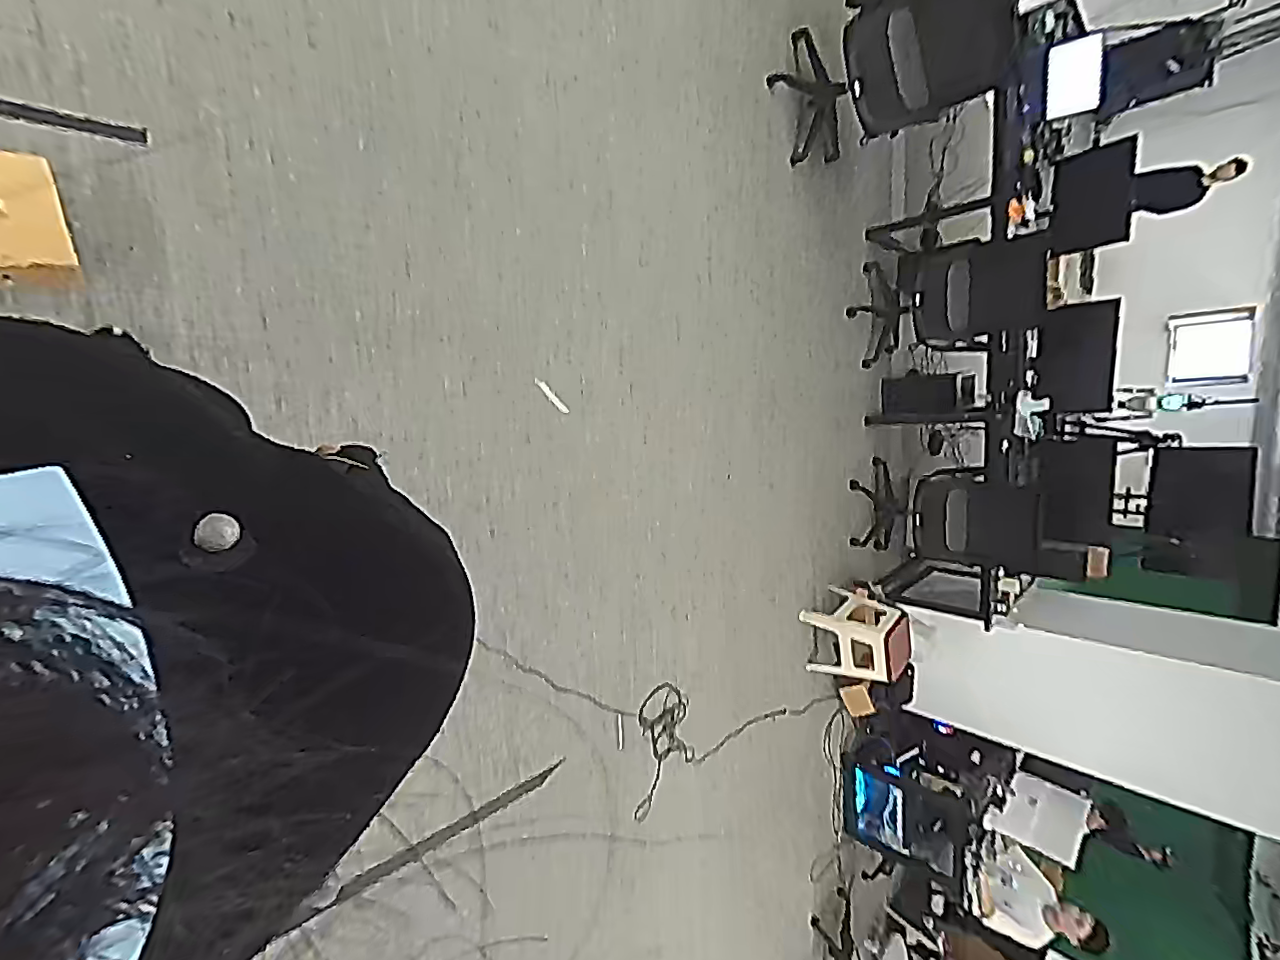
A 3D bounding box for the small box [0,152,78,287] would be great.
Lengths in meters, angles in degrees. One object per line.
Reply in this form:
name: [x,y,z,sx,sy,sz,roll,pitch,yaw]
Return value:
small box: [-1.095,-0.438,0.918,0.168,0.176,0.179,-17,105,-42]
